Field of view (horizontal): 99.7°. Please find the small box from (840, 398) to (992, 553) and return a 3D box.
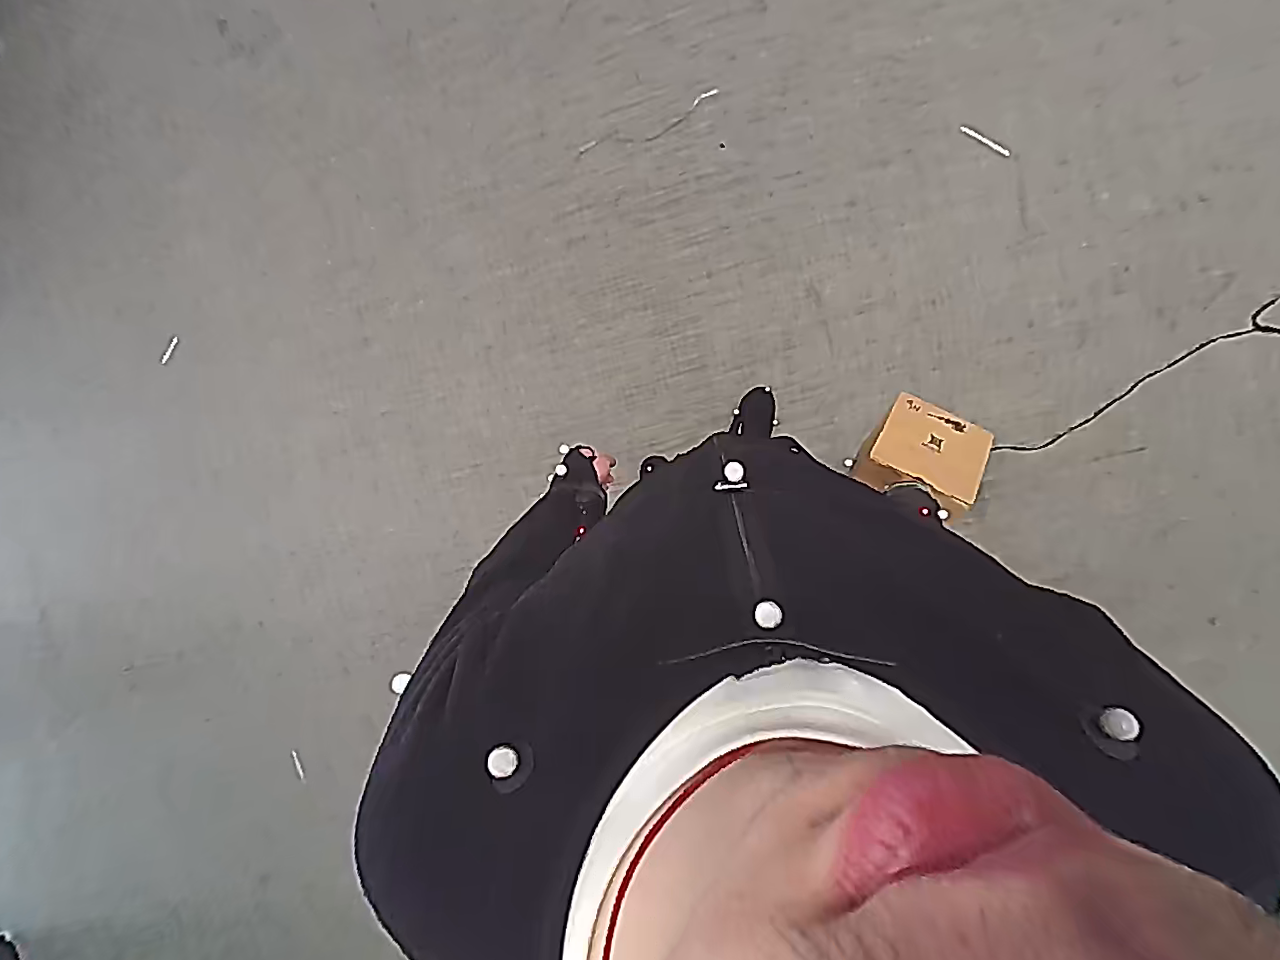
[{"bbox_3d":[0.470,-0.003,0.941,0.168,0.176,0.179,27,57,15],"label":"small box"}]
